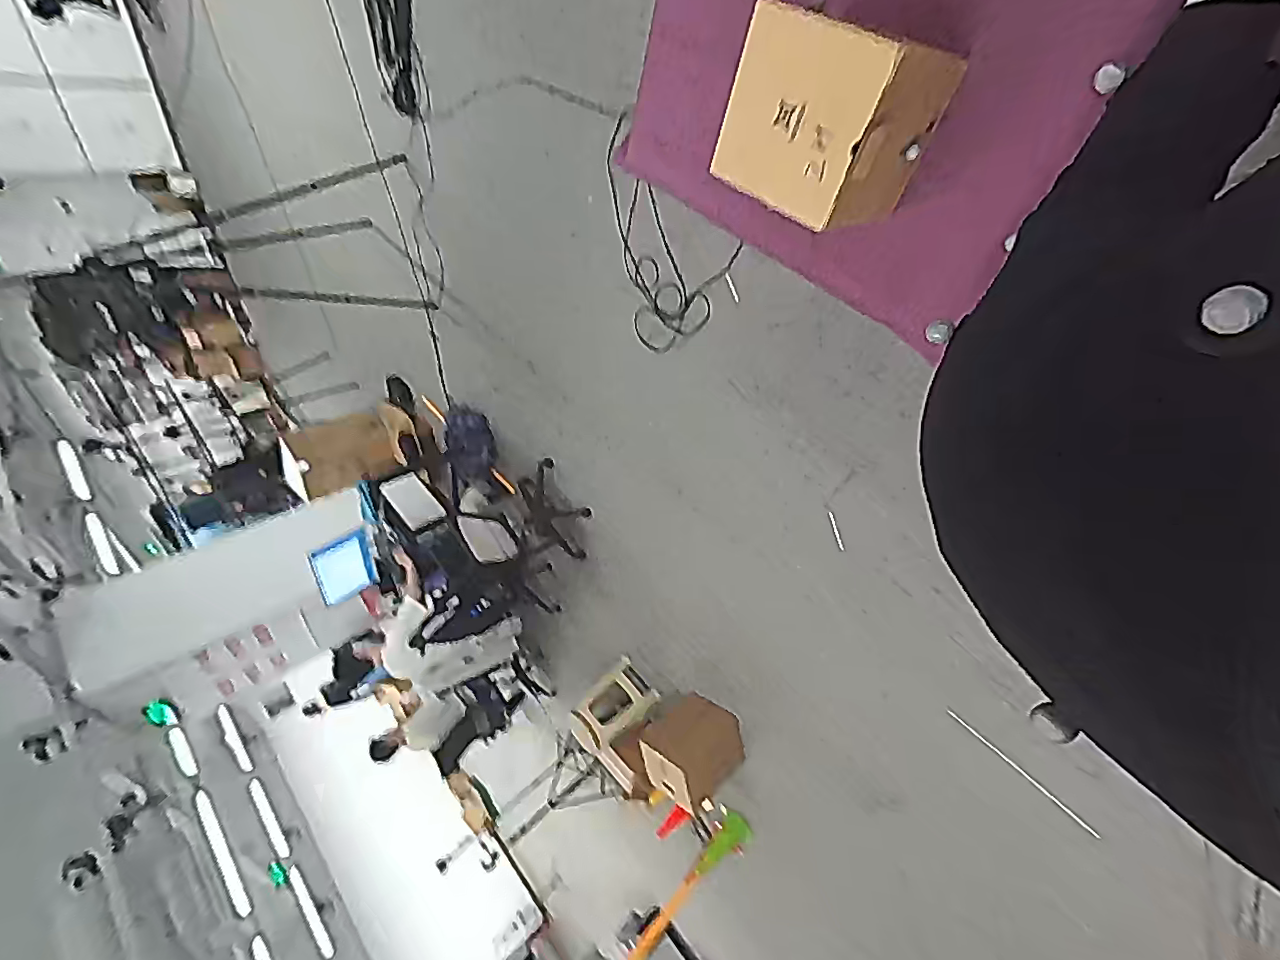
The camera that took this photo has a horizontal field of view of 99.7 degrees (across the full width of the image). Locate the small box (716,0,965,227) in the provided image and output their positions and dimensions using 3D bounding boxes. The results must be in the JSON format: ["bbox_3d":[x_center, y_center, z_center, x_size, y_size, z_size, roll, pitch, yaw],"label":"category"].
[{"bbox_3d":[0.225,-0.416,0.626,0.179,0.176,0.168,44,140,24],"label":"small box"}]
